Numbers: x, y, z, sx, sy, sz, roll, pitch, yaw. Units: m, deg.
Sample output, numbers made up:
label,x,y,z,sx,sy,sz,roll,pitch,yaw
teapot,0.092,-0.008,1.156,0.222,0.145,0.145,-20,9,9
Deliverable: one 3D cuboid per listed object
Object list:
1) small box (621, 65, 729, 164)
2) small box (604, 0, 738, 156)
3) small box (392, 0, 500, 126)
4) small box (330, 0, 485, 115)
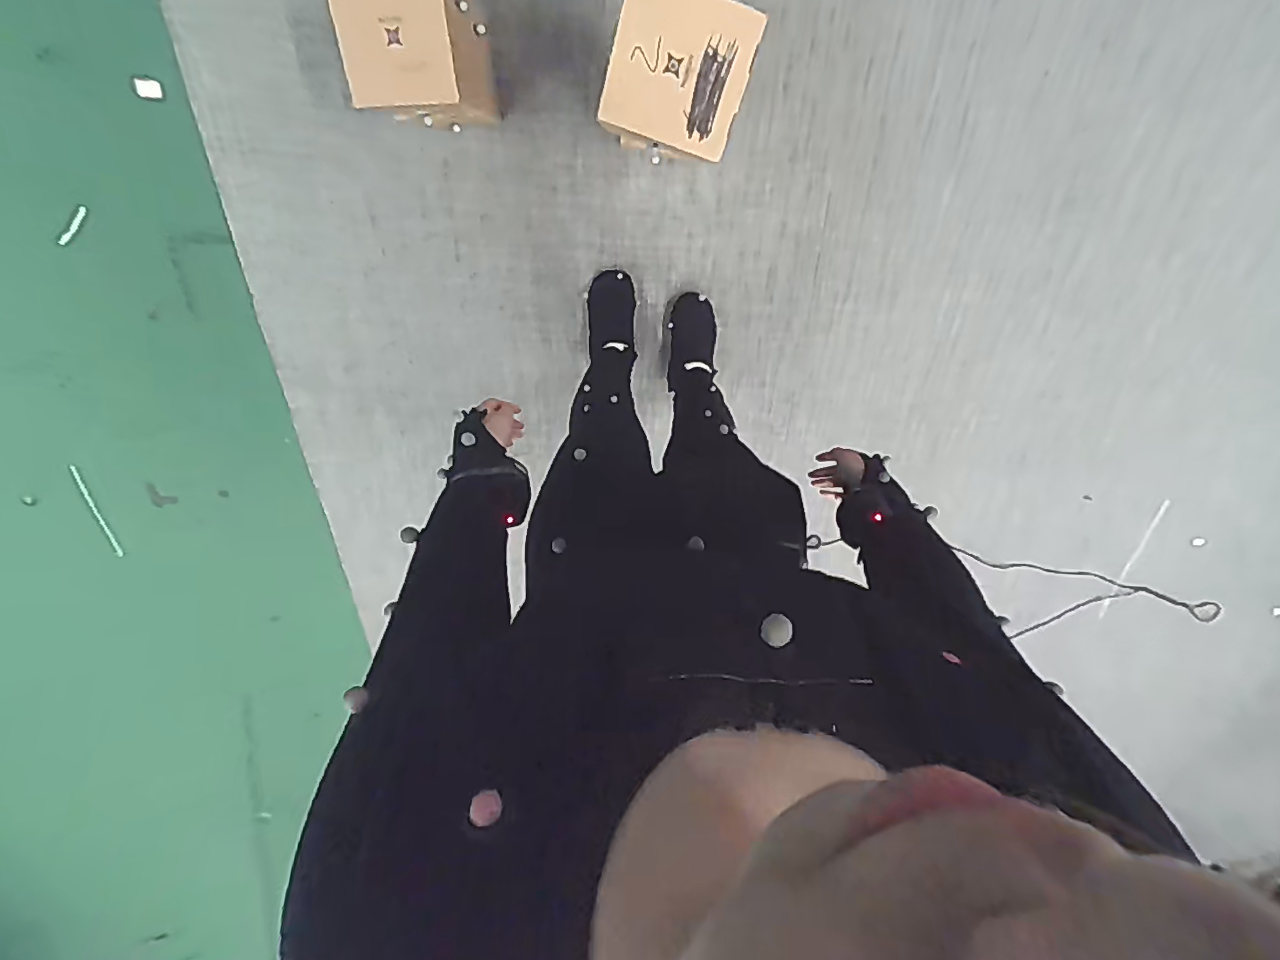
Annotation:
label,x,y,z,sx,sy,sz,roll,pitch,yaw
small box,0.059,-0.718,1.027,0.168,0.176,0.179,9,120,-6
small box,0.044,-0.648,0.880,0.168,0.176,0.179,13,119,-8
small box,-0.365,-0.764,0.992,0.168,0.176,0.179,-3,120,0
small box,-0.356,-0.688,0.848,0.168,0.176,0.179,-2,120,1
